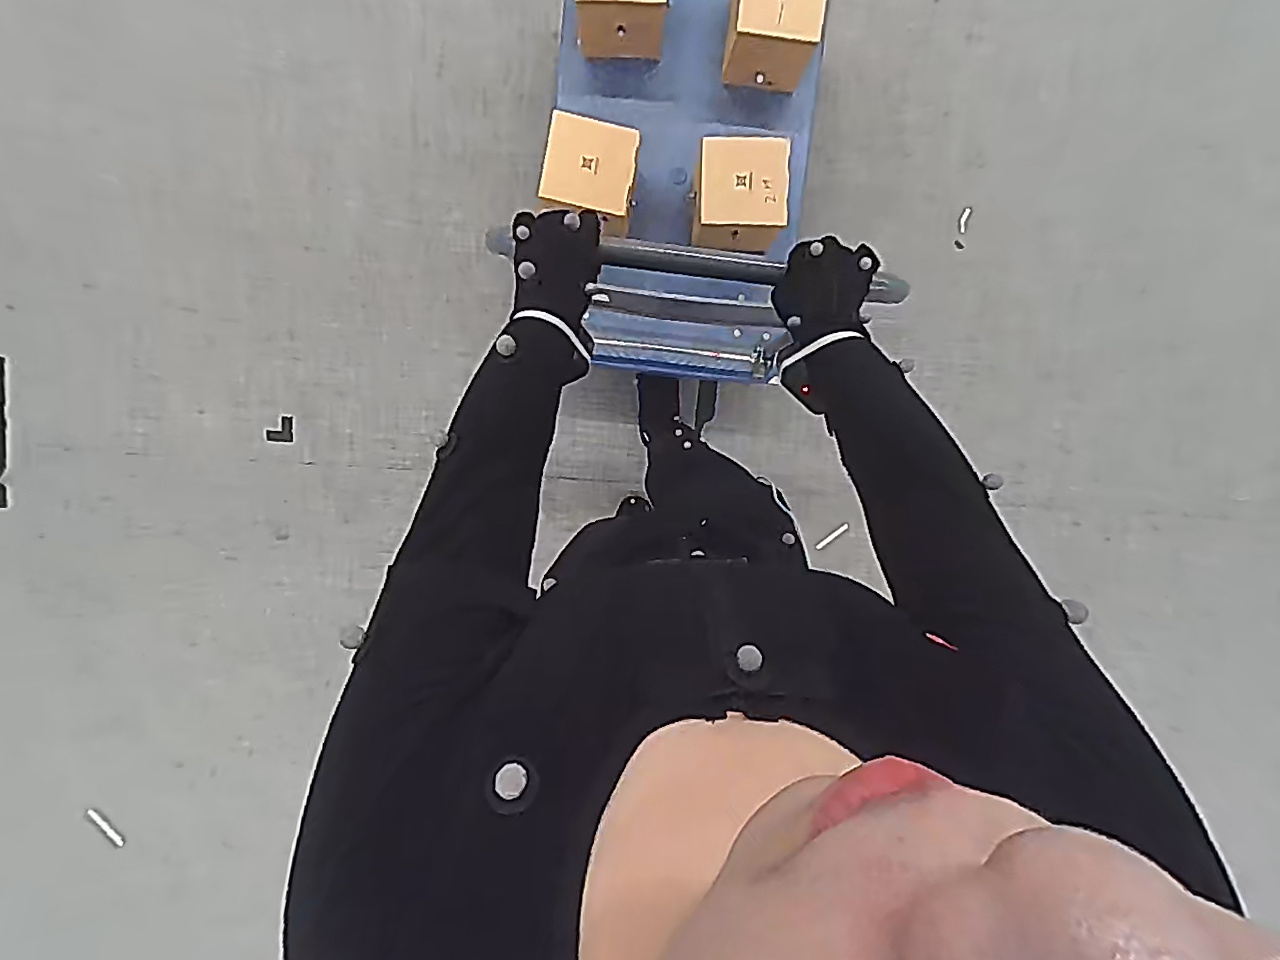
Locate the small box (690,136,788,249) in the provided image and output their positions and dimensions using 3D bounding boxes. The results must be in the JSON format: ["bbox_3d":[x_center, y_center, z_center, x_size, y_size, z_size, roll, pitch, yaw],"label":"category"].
[{"bbox_3d":[0.202,-0.602,1.150,0.179,0.176,0.168,1,97,-1],"label":"small box"}]

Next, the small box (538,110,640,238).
[{"bbox_3d":[-0.104,-0.631,1.139,0.179,0.176,0.168,11,96,-4],"label":"small box"}]

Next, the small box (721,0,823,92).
[{"bbox_3d":[0.269,-0.948,1.110,0.168,0.176,0.179,7,98,-2],"label":"small box"}]
